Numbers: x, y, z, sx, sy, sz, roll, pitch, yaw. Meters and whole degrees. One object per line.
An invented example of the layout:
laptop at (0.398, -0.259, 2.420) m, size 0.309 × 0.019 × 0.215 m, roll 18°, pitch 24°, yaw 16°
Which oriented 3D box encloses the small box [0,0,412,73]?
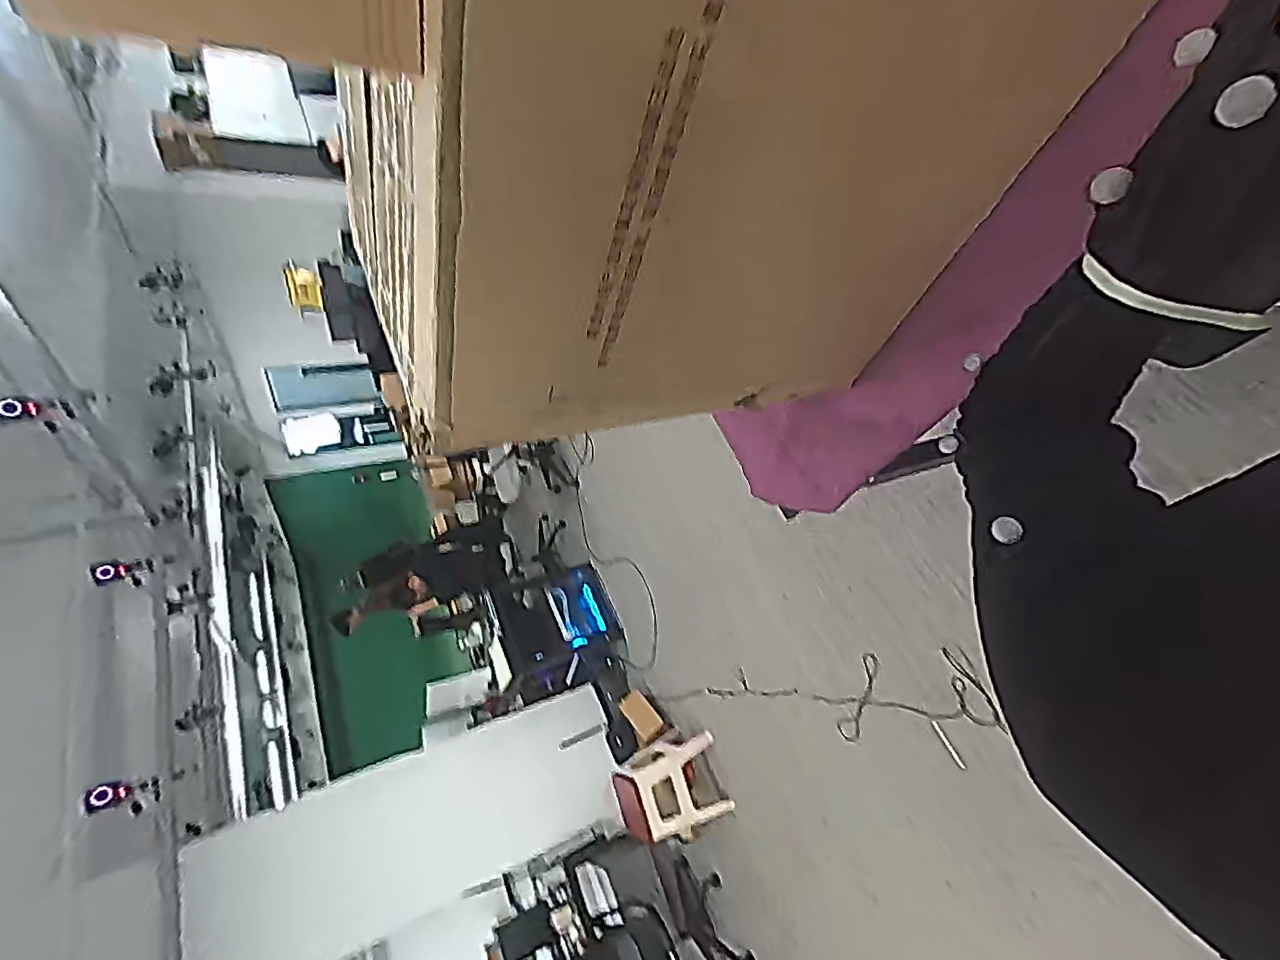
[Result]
small box at (-0.206, -0.317, 0.237) m, size 0.168 × 0.176 × 0.179 m, roll 61°, pitch 149°, yaw 25°
